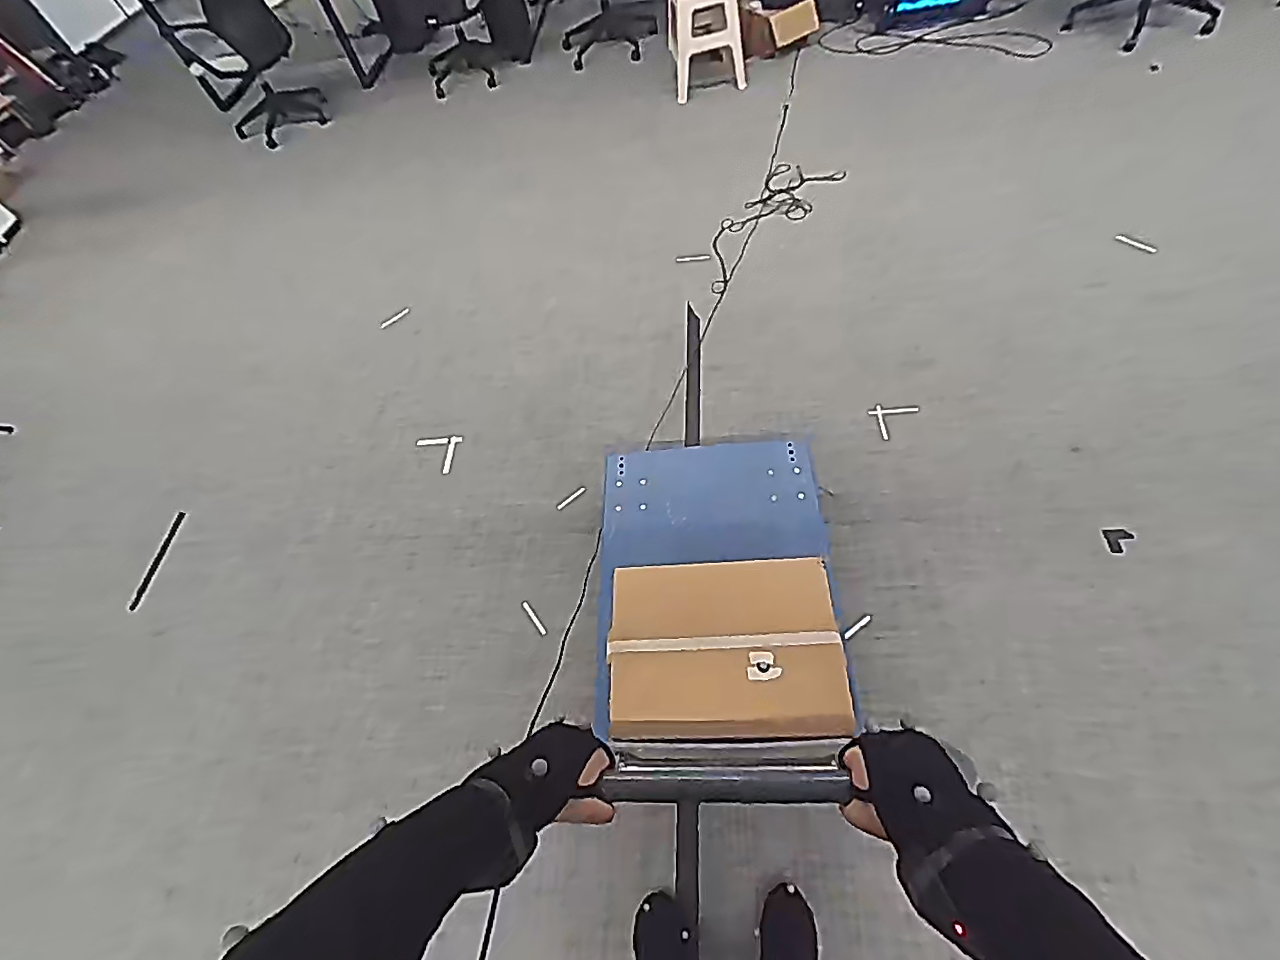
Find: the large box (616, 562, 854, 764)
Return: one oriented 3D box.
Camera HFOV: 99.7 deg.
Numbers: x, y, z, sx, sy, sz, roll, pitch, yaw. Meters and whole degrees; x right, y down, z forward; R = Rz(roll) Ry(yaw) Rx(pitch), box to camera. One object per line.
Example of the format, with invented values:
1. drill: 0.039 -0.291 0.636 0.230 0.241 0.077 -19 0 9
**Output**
1. large box: 0.170 0.384 1.103 0.408 0.320 0.320 -4 57 6
